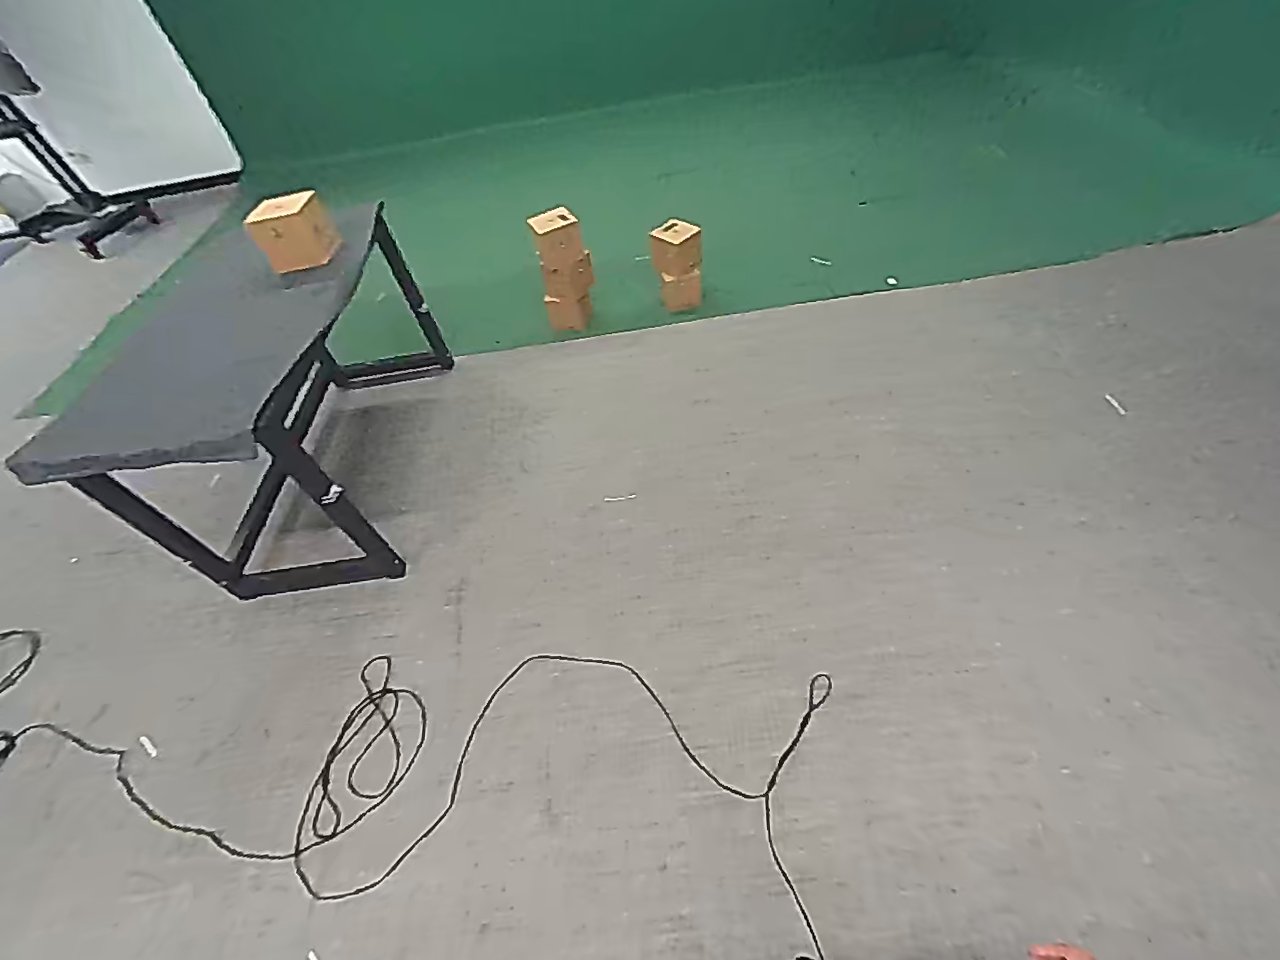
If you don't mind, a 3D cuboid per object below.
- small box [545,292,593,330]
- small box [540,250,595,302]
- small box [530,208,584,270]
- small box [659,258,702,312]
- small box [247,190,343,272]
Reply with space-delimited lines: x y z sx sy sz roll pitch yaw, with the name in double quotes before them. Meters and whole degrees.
"small box" -0.336 -0.837 2.597 0.168 0.176 0.179 6 51 13
"small box" -0.324 -0.940 2.468 0.168 0.176 0.179 24 57 24
"small box" -0.353 -1.043 2.343 0.179 0.176 0.168 -26 52 -11
"small box" 0.192 -0.930 2.586 0.168 0.176 0.179 -14 49 -3
"small box" -1.093 -0.794 1.731 0.179 0.176 0.168 -9 50 4
